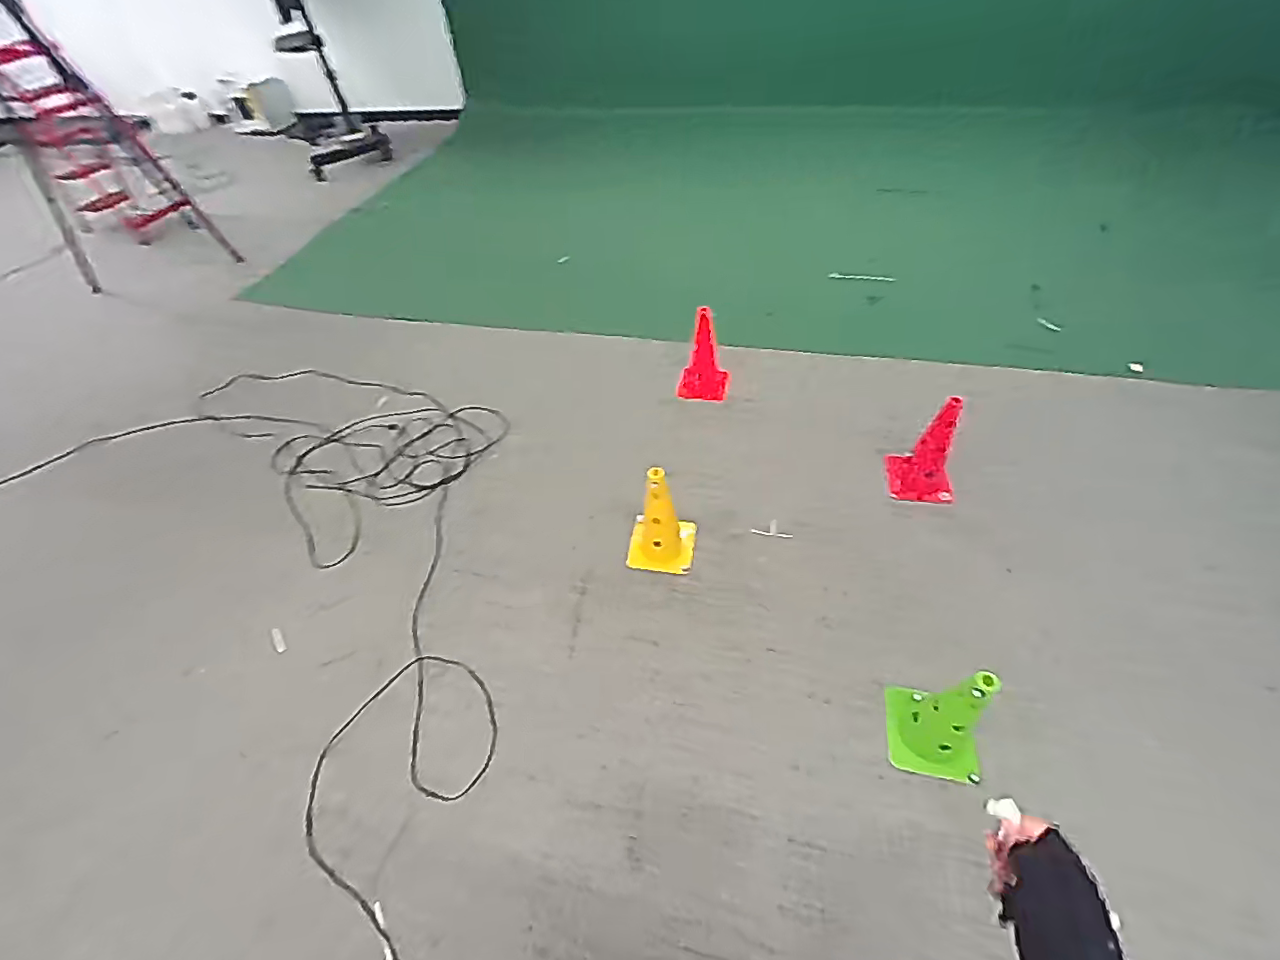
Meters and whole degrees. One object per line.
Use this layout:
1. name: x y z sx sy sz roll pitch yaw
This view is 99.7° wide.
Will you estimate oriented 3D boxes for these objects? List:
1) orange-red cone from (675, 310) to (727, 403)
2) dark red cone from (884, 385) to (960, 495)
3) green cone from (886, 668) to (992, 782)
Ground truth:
1. orange-red cone: 0.240 -0.506 2.142 0.198 0.360 0.199 7 51 13
2. dark red cone: 0.930 -0.134 1.713 0.202 0.394 0.201 3 48 9
3. green cone: 0.704 0.508 1.209 0.202 0.368 0.200 5 49 12
